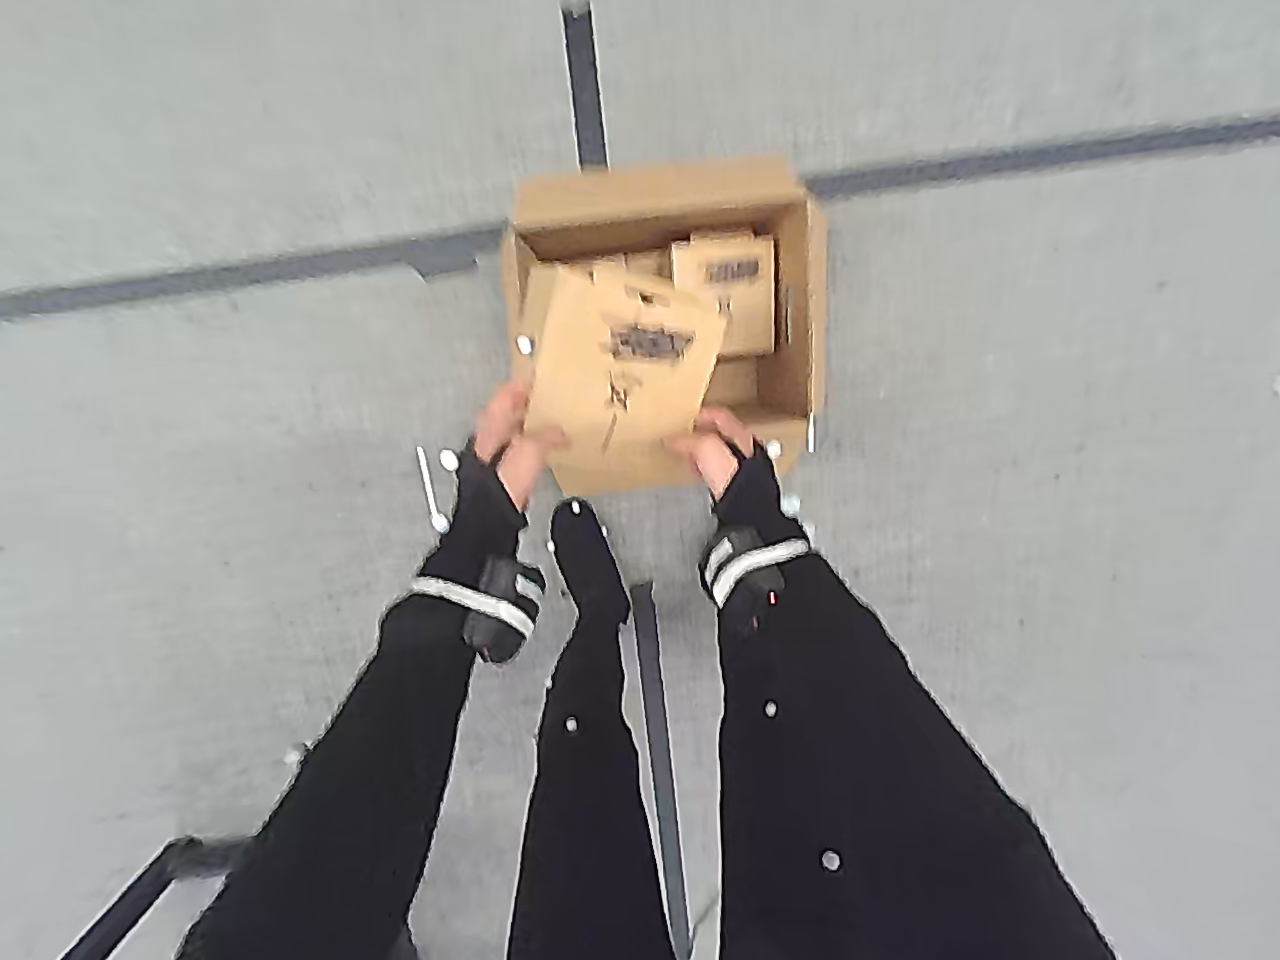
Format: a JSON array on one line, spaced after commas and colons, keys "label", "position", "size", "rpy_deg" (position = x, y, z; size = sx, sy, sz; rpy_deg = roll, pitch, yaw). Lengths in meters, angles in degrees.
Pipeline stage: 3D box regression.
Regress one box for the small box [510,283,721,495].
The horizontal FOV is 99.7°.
[{"label": "small box", "position": [-0.040, -0.103, 0.586], "size": [0.168, 0.176, 0.179], "rpy_deg": [10, 106, -21]}]
